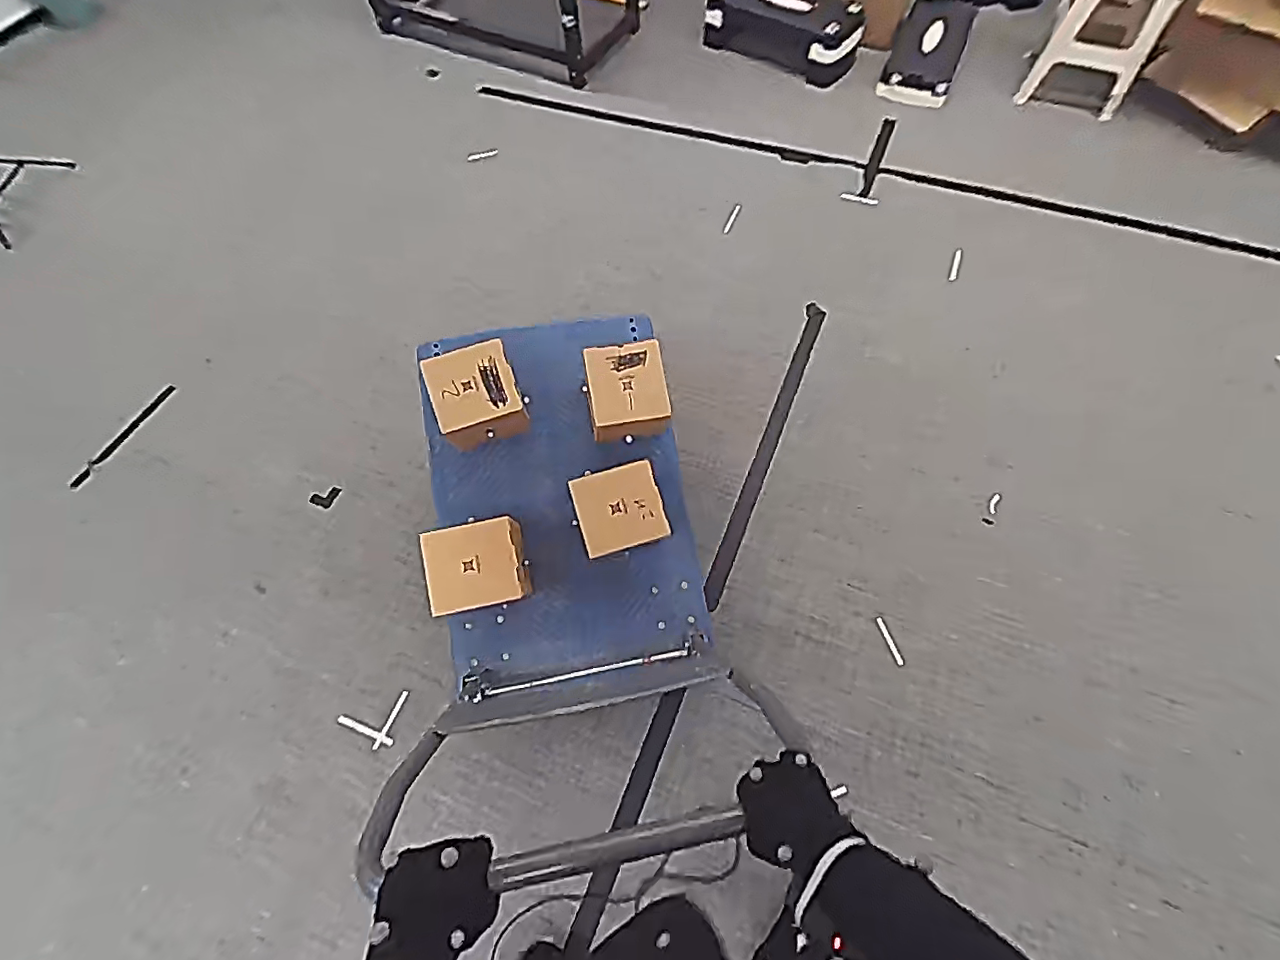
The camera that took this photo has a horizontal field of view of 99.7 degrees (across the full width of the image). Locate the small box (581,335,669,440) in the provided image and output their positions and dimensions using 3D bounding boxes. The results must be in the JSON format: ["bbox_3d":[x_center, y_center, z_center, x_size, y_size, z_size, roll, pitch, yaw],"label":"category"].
[{"bbox_3d":[-0.039,-0.203,1.226,0.168,0.176,0.179,-11,82,-6],"label":"small box"}]

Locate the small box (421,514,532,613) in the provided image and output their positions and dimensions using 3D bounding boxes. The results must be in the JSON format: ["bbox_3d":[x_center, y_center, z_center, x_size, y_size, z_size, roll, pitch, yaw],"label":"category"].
[{"bbox_3d":[-0.337,0.178,1.138,0.179,0.176,0.168,-13,81,-8],"label":"small box"}]

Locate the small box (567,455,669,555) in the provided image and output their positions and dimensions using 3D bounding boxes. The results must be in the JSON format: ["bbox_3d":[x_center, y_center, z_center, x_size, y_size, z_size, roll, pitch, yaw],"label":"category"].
[{"bbox_3d":[-0.049,0.062,1.179,0.179,0.176,0.168,-17,82,-7],"label":"small box"}]
